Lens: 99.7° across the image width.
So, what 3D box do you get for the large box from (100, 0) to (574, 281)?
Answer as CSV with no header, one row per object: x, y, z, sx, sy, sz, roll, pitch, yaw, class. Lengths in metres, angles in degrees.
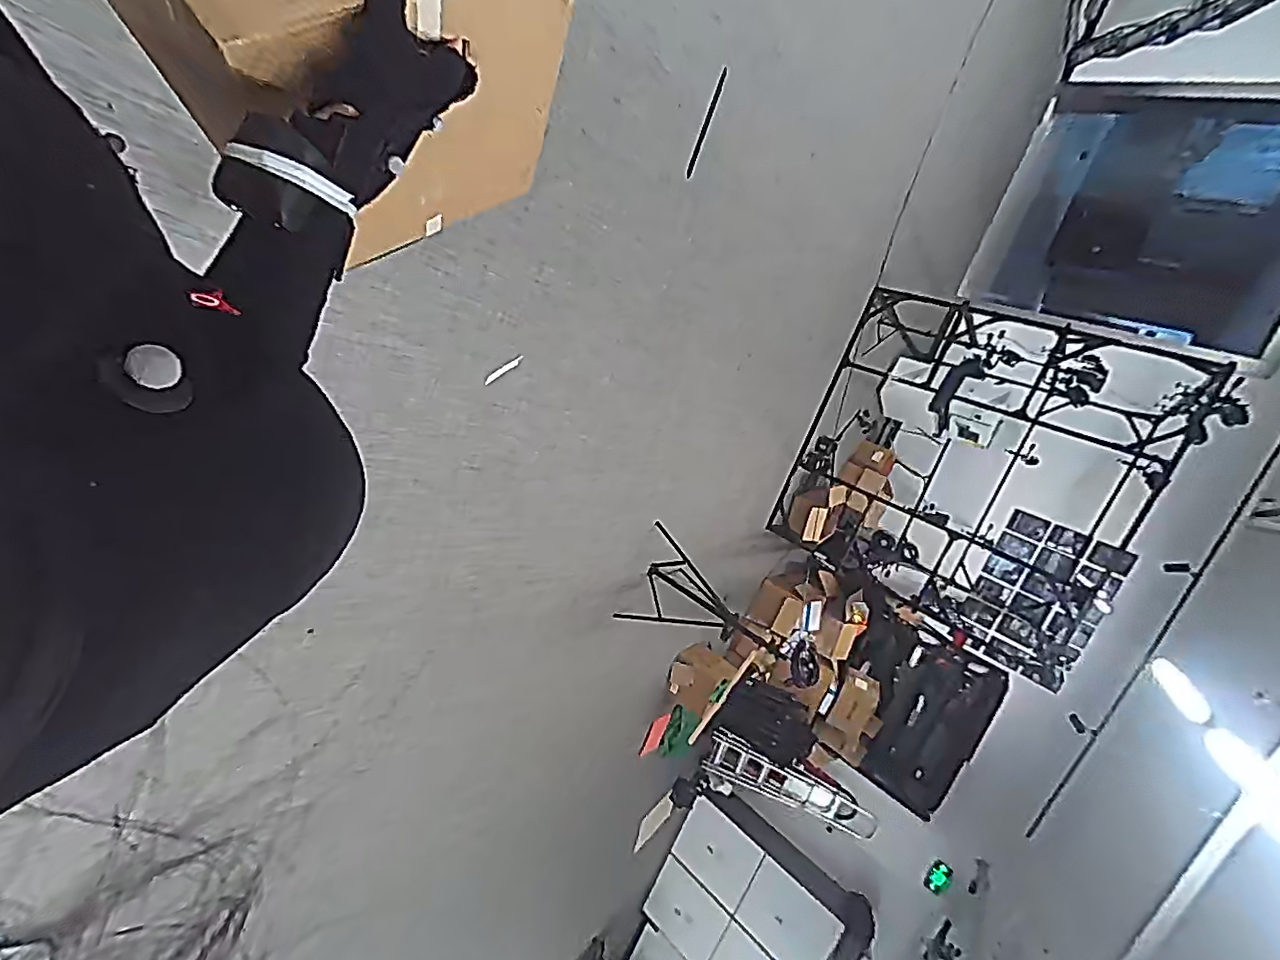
-0.333,-0.500,0.549,0.320,0.408,0.320,-38,-175,-22,large box
